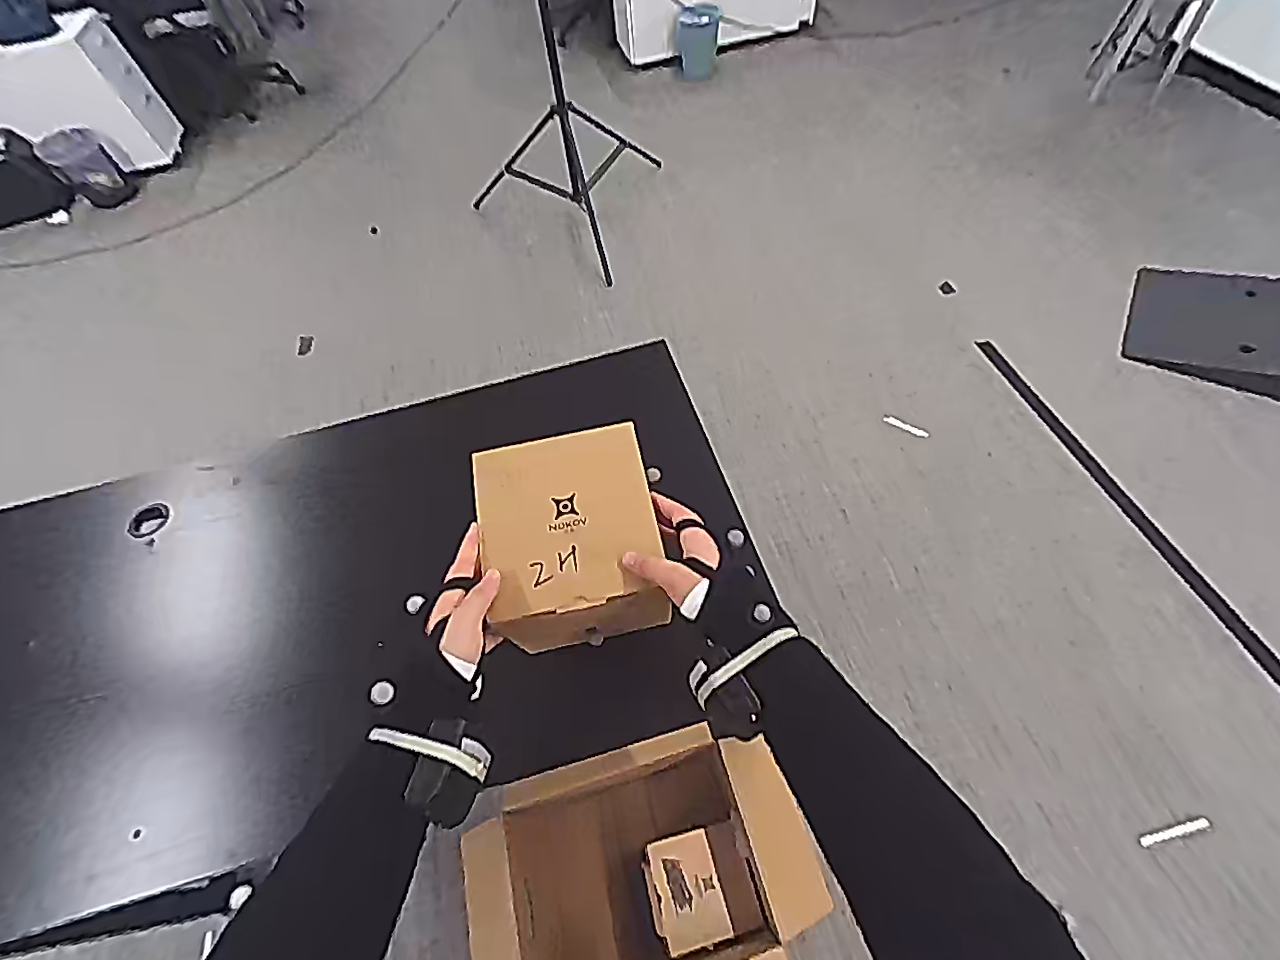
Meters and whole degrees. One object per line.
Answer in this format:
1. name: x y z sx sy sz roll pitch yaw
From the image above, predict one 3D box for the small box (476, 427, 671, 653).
1. small box: -0.067 0.071 0.582 0.168 0.176 0.179 -12 64 -3
